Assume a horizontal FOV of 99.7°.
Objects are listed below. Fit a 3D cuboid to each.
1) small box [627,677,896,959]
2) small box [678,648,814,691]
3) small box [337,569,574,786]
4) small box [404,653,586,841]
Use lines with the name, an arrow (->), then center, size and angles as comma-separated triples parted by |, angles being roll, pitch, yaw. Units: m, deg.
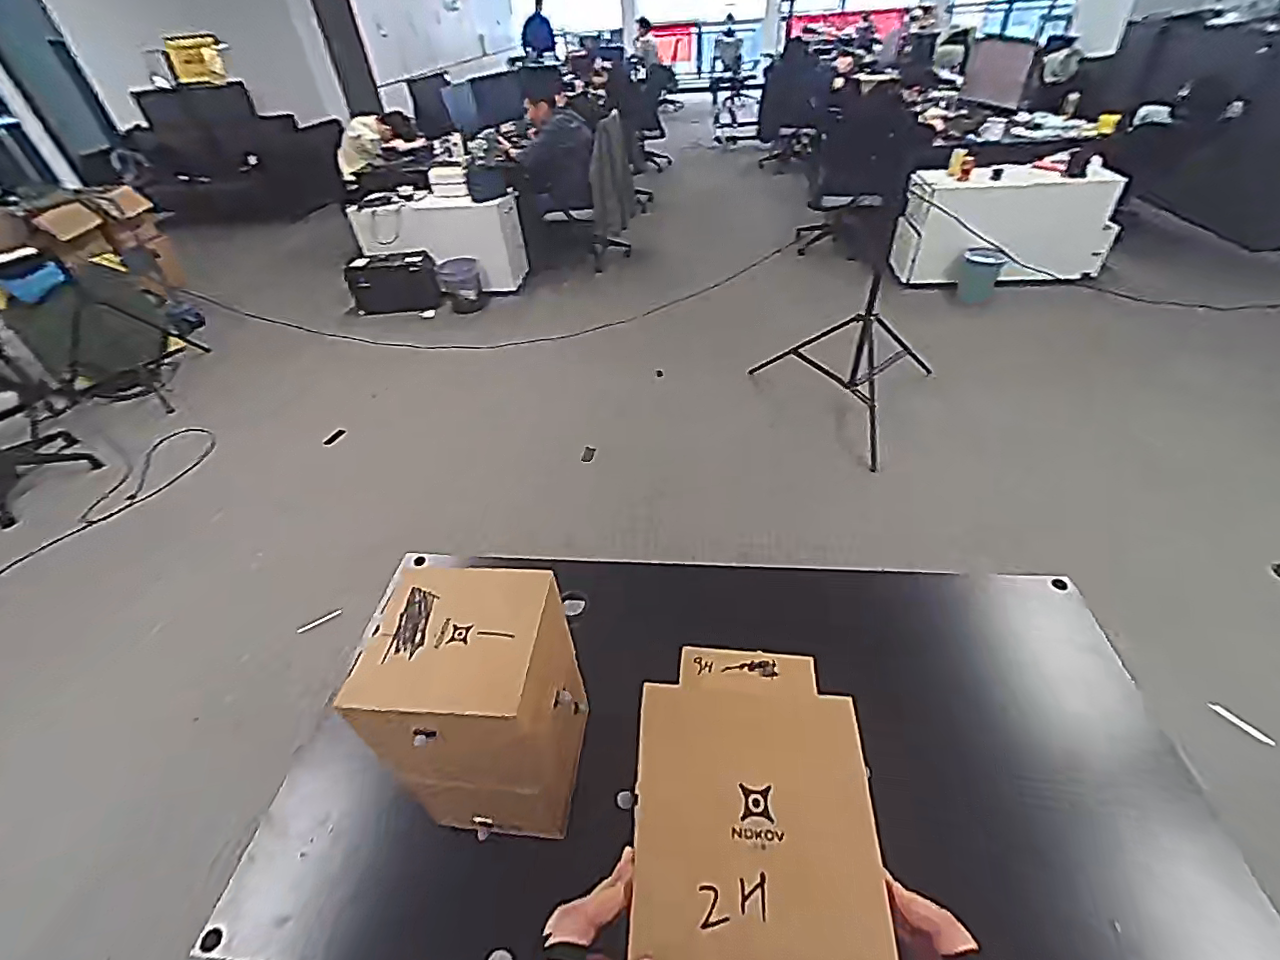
small box -> 0.079, 0.282, 0.438 | 0.168, 0.176, 0.179 | 4, 50, 2
small box -> 0.128, 0.337, 0.677 | 0.168, 0.176, 0.179 | 2, 42, 8
small box -> -0.181, 0.217, 0.596 | 0.179, 0.176, 0.168 | 0, 41, 6
small box -> -0.170, 0.339, 0.705 | 0.168, 0.176, 0.179 | 0, 42, 7
